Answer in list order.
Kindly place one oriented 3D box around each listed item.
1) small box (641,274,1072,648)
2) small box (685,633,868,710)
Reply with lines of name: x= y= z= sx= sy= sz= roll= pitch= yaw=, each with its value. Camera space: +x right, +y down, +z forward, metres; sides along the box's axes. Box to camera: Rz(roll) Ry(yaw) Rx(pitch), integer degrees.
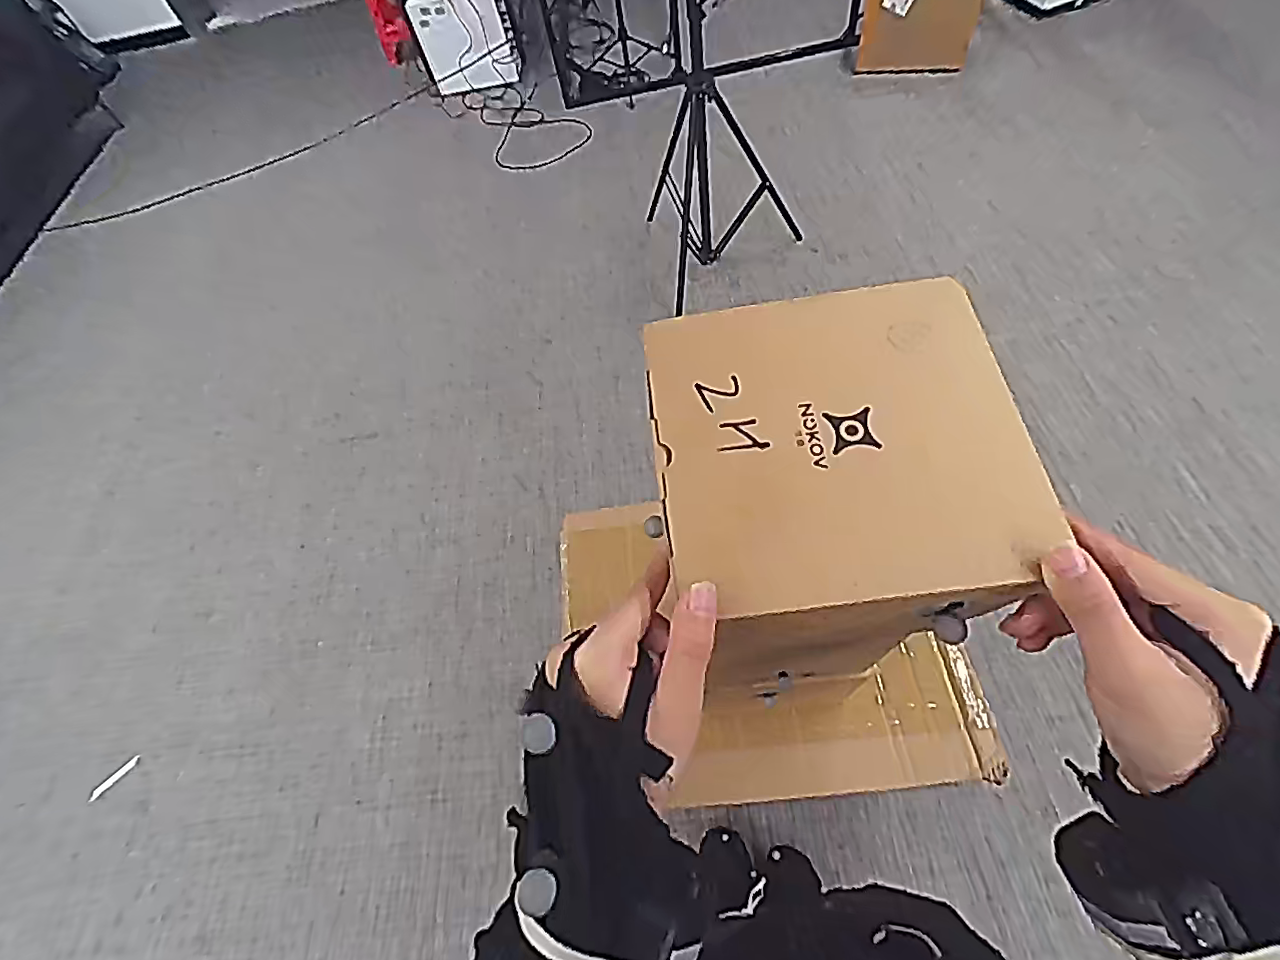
small box: x=0.100 y=0.005 z=0.338 sx=0.179 sy=0.176 sz=0.168 roll=-8 pitch=66 yaw=4
small box: x=0.143 y=0.167 z=0.637 sx=0.179 sy=0.176 sz=0.168 roll=-8 pitch=59 yaw=5
